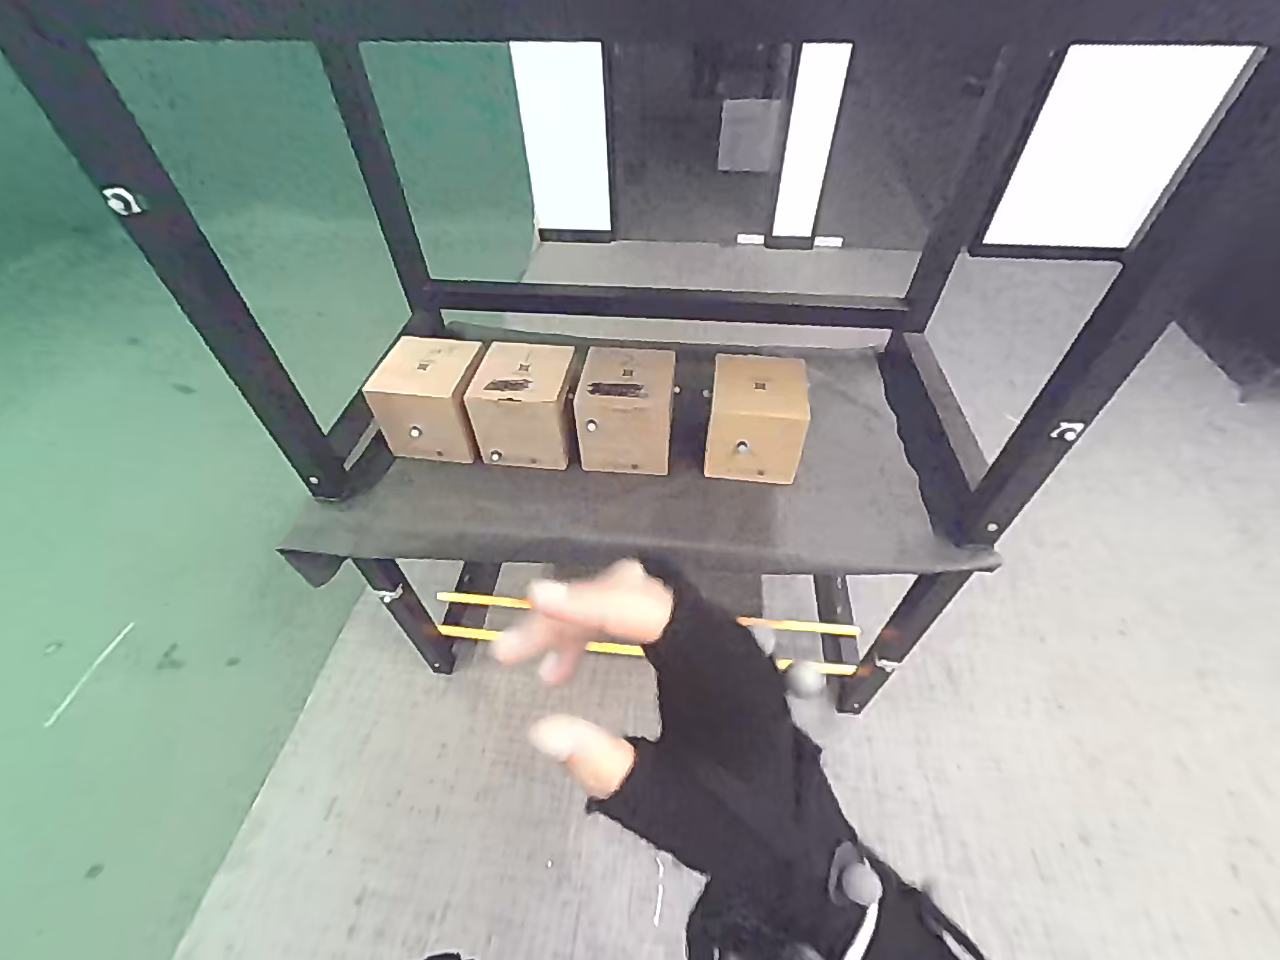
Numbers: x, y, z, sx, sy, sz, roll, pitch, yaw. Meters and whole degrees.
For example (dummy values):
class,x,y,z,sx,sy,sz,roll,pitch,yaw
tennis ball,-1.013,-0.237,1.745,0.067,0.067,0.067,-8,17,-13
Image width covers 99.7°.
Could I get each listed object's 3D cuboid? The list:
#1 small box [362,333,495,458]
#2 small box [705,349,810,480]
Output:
class,x,y,z,sx,sy,sz,roll,pitch,yaw
small box,-0.395,-0.162,1.052,0.168,0.176,0.179,7,48,5
small box,0.213,-0.119,1.007,0.168,0.176,0.179,6,48,6
